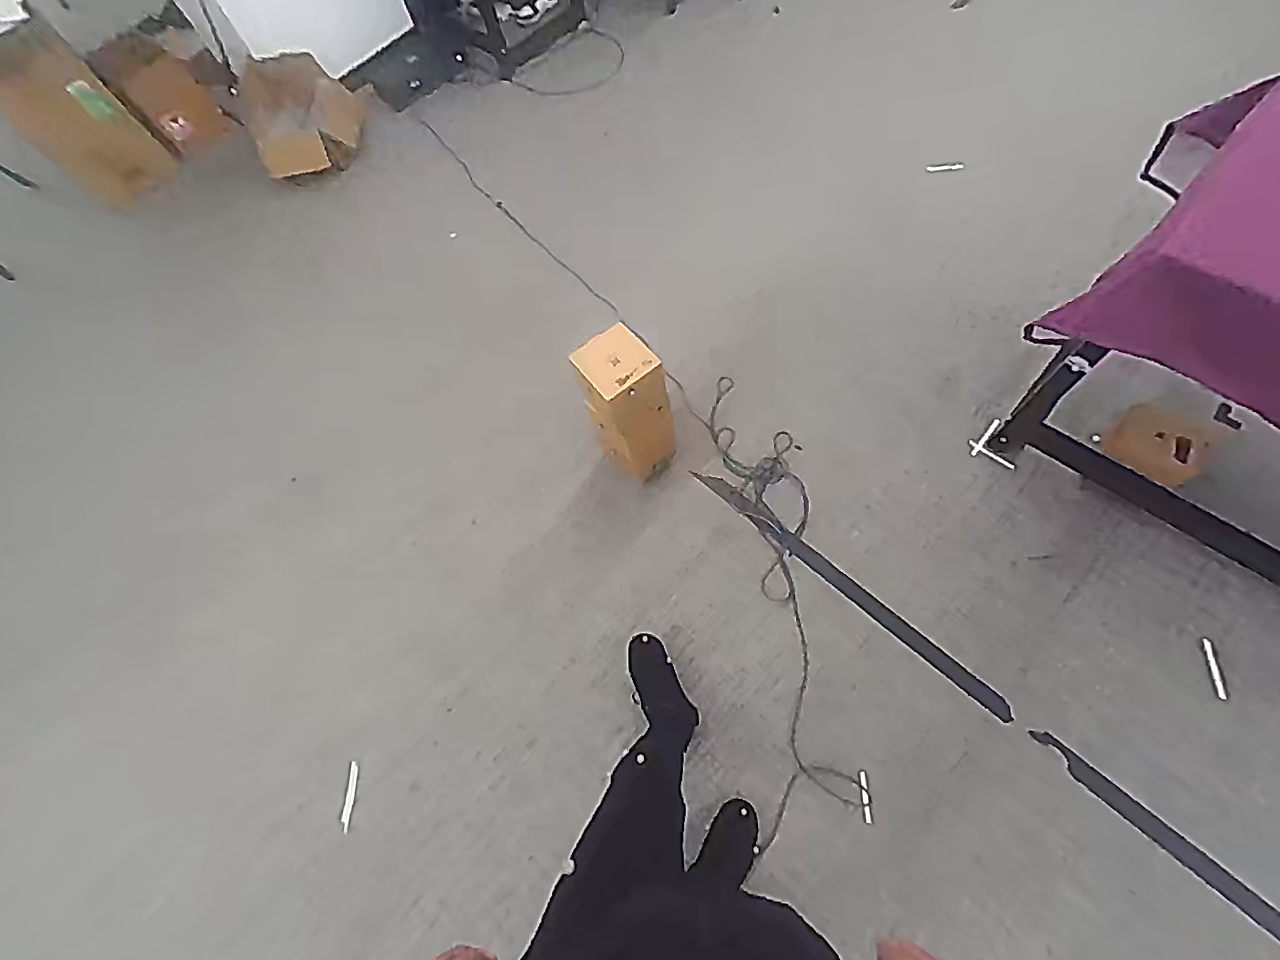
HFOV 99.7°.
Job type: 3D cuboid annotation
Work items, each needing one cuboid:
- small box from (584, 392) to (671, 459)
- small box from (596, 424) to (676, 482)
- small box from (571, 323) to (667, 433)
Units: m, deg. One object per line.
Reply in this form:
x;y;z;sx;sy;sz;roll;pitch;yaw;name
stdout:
-0.027;-0.189;1.525;0.179;0.176;0.168;-43;67;-12;small box
-0.008;-0.123;1.671;0.179;0.176;0.168;41;77;21;small box
-0.048;-0.254;1.375;0.168;0.176;0.179;-36;65;-9;small box
